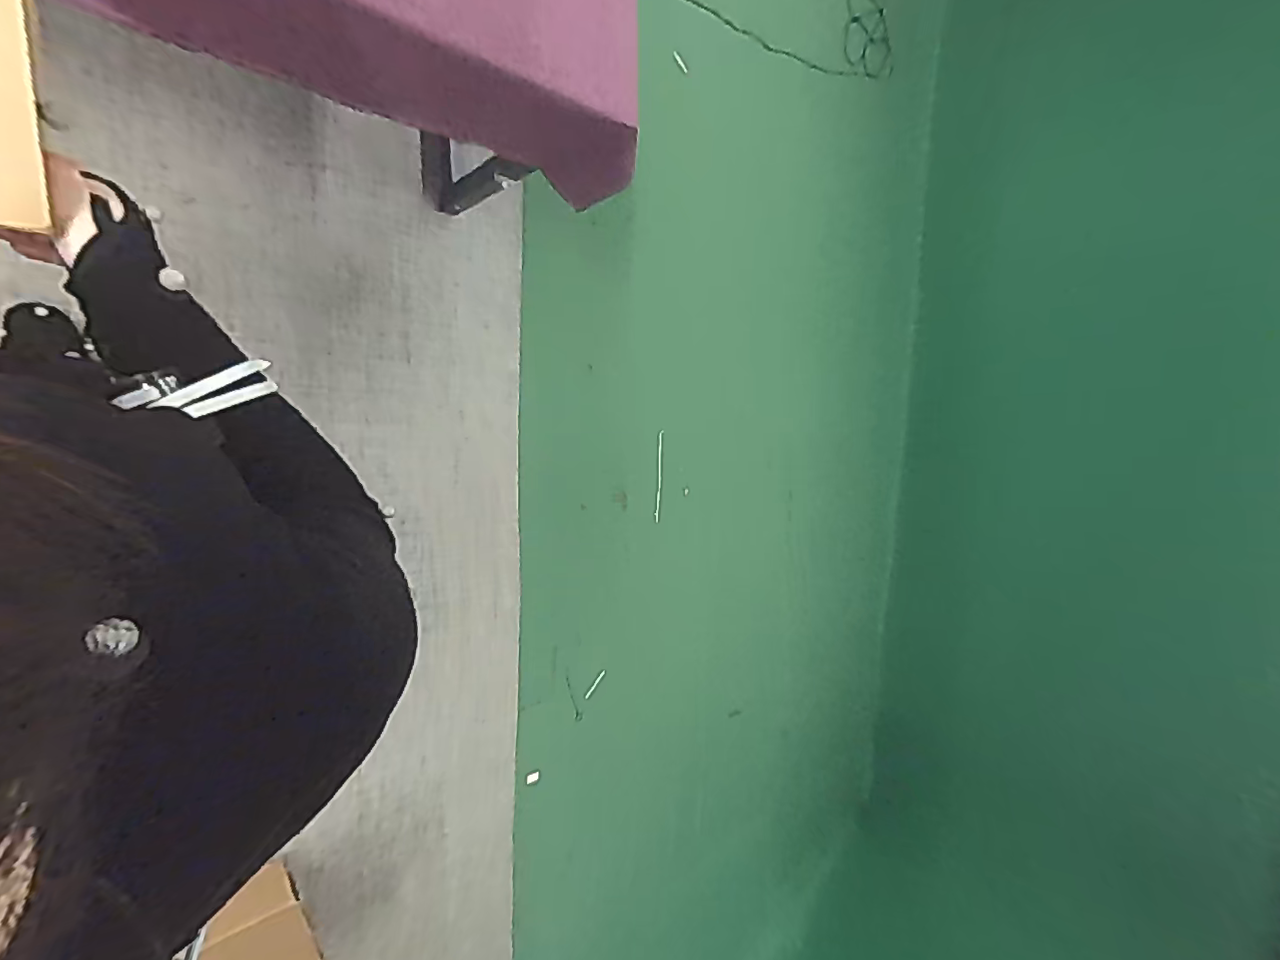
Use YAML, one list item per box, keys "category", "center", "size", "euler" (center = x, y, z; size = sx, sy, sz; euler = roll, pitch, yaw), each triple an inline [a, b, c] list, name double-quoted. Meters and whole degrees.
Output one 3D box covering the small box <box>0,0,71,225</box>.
- category: "small box"
  center: [-0.444, -0.255, 0.297]
  size: [0.168, 0.176, 0.179]
  euler: [-8, 116, -43]
